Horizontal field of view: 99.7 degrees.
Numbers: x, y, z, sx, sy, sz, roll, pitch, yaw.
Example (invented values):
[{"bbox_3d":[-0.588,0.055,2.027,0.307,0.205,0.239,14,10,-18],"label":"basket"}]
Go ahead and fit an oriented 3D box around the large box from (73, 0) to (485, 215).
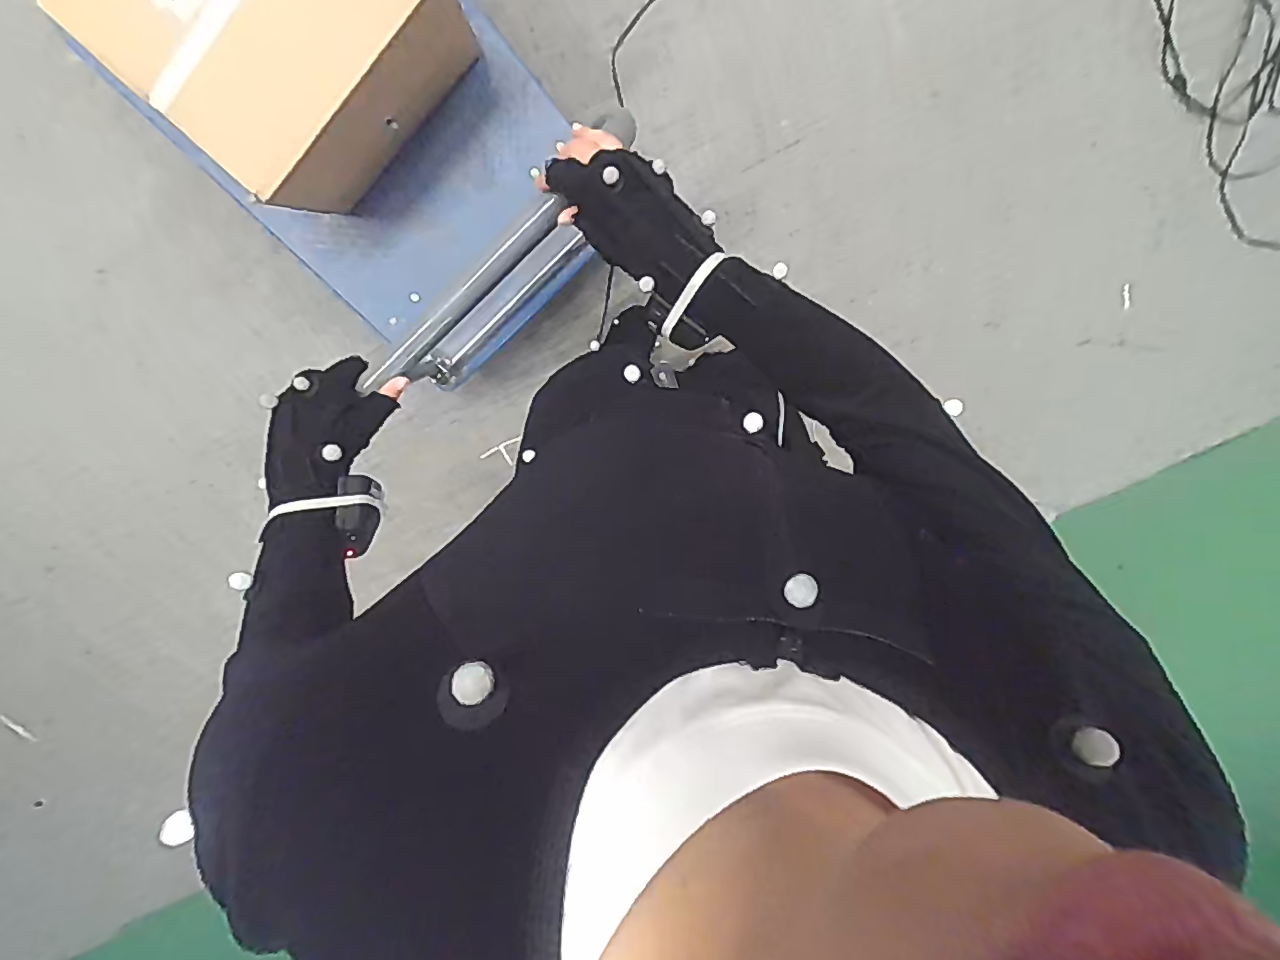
[{"bbox_3d":[-0.505,-0.688,0.842,0.408,0.320,0.320,-43,110,12],"label":"large box"}]
